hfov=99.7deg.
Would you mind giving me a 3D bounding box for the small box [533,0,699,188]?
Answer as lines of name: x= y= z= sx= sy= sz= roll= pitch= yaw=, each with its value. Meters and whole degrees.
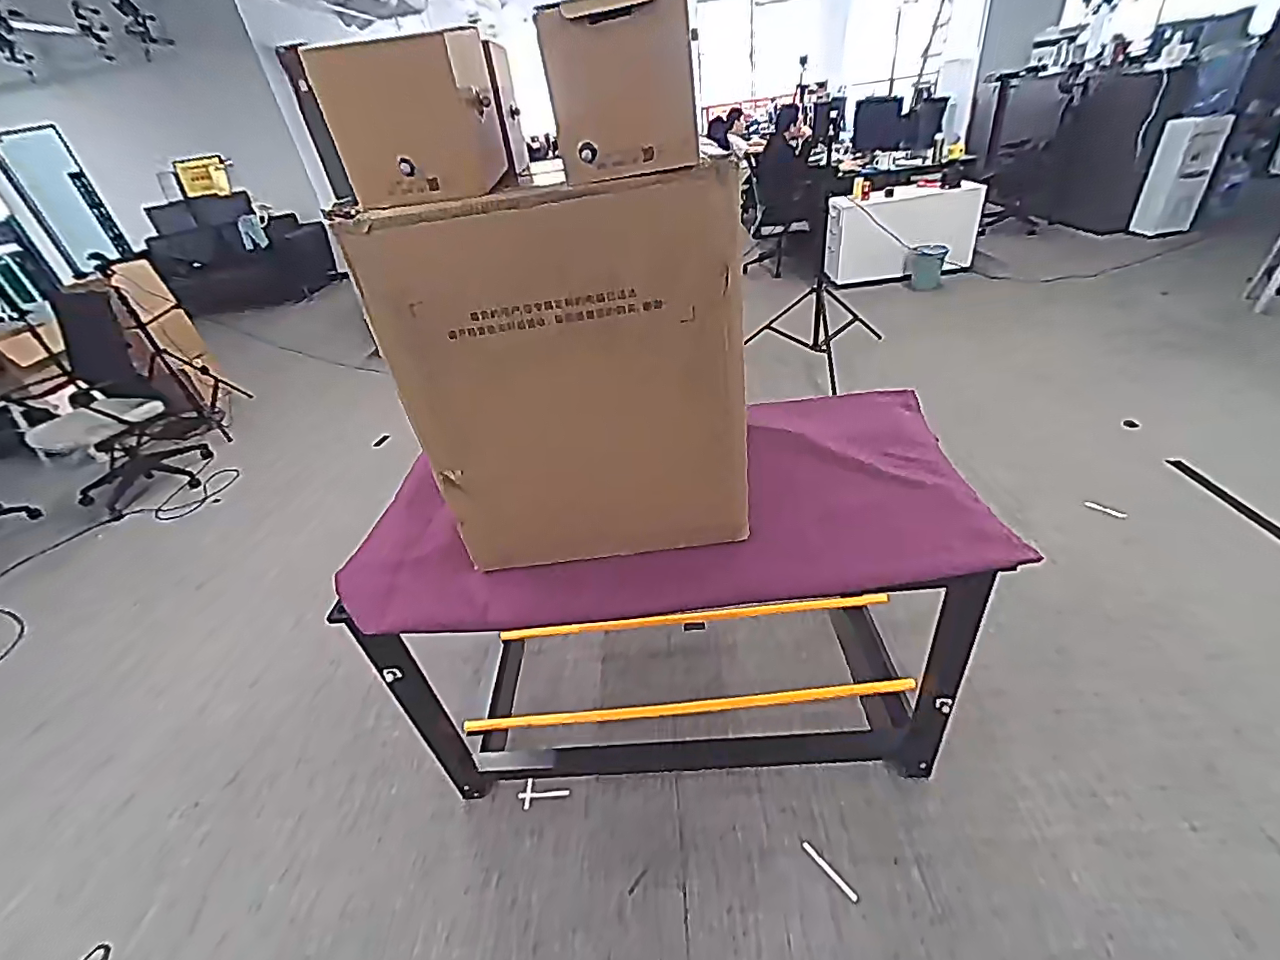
small box: x=-0.021 y=-0.475 z=0.672 sx=0.168 sy=0.176 sz=0.179 roll=-7 pitch=37 yaw=4
